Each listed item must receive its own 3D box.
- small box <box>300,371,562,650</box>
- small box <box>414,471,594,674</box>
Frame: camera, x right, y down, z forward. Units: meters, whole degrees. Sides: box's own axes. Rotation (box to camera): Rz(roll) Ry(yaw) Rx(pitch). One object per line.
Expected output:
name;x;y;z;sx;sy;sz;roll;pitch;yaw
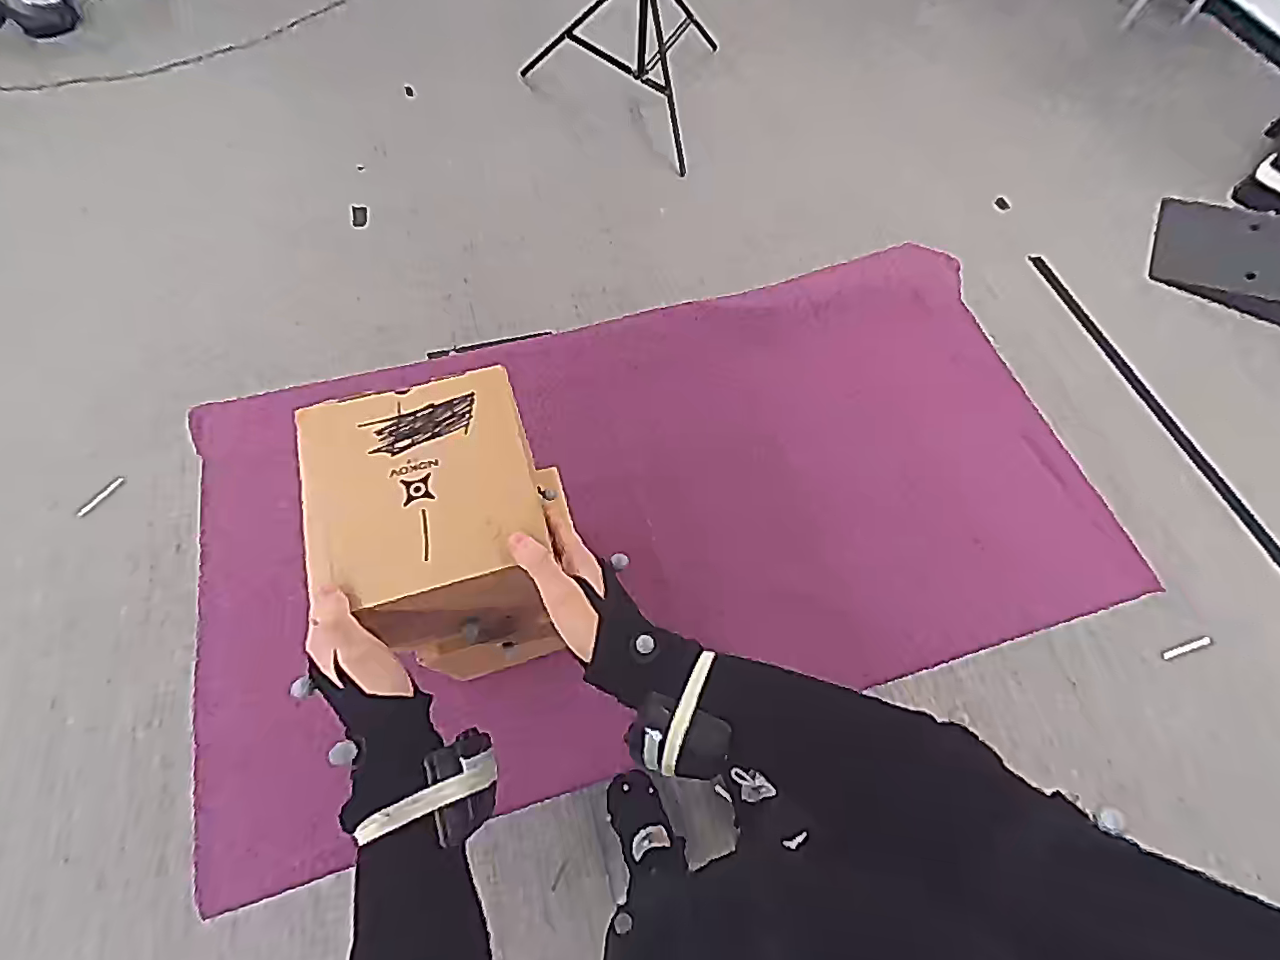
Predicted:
small box;-0.172;0.035;0.481;0.168;0.176;0.179;-15;67;-9
small box;-0.157;0.114;0.627;0.179;0.176;0.168;-16;67;-9
